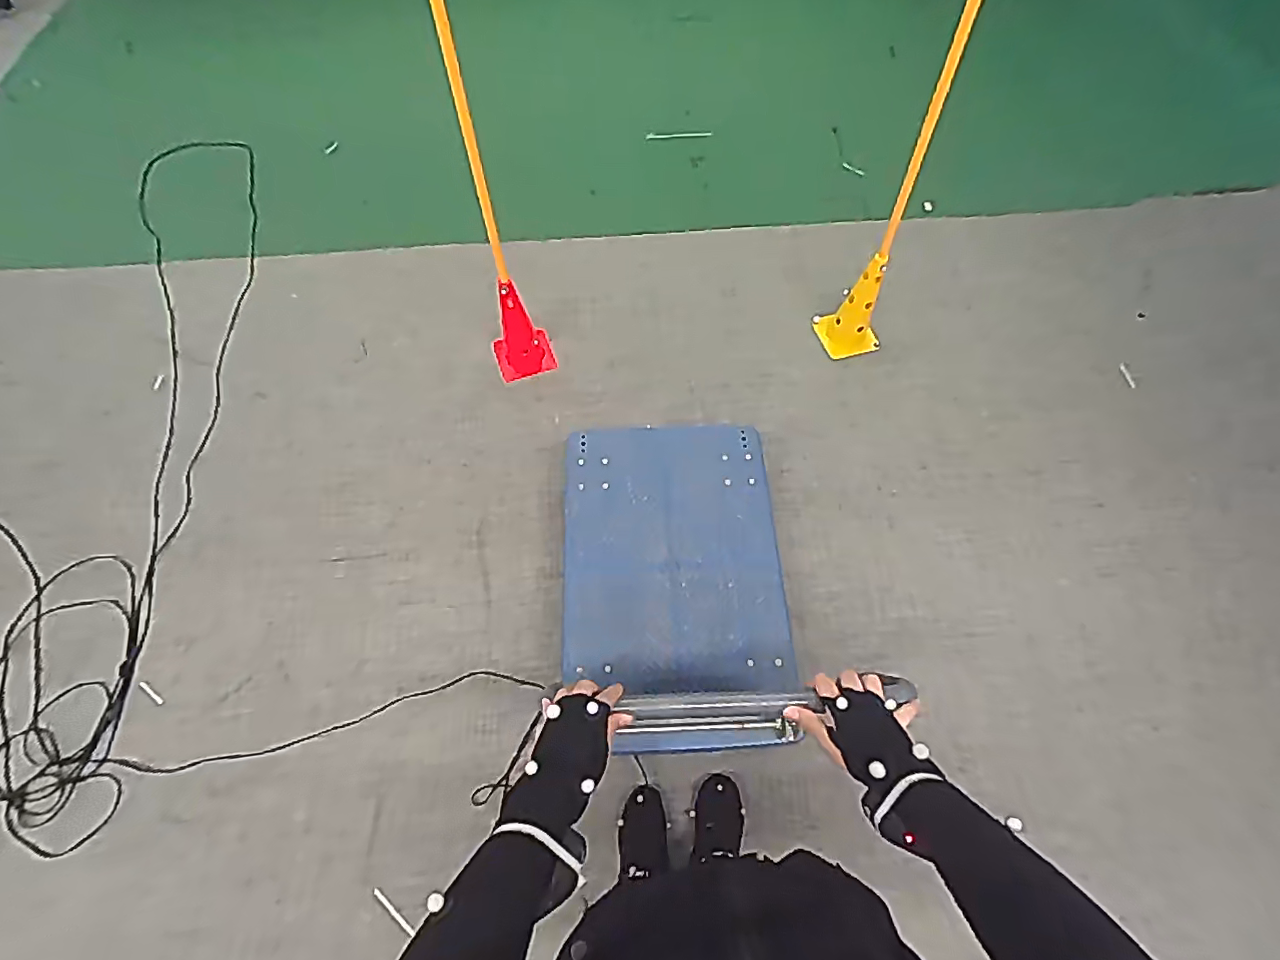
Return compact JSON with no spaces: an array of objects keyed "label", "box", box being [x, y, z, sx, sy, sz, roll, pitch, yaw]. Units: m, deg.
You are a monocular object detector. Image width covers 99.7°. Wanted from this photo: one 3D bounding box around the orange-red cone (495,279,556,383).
[{"label":"orange-red cone","box":[-0.418,-0.521,1.809,0.199,0.360,0.198,-18,64,-8]}]
